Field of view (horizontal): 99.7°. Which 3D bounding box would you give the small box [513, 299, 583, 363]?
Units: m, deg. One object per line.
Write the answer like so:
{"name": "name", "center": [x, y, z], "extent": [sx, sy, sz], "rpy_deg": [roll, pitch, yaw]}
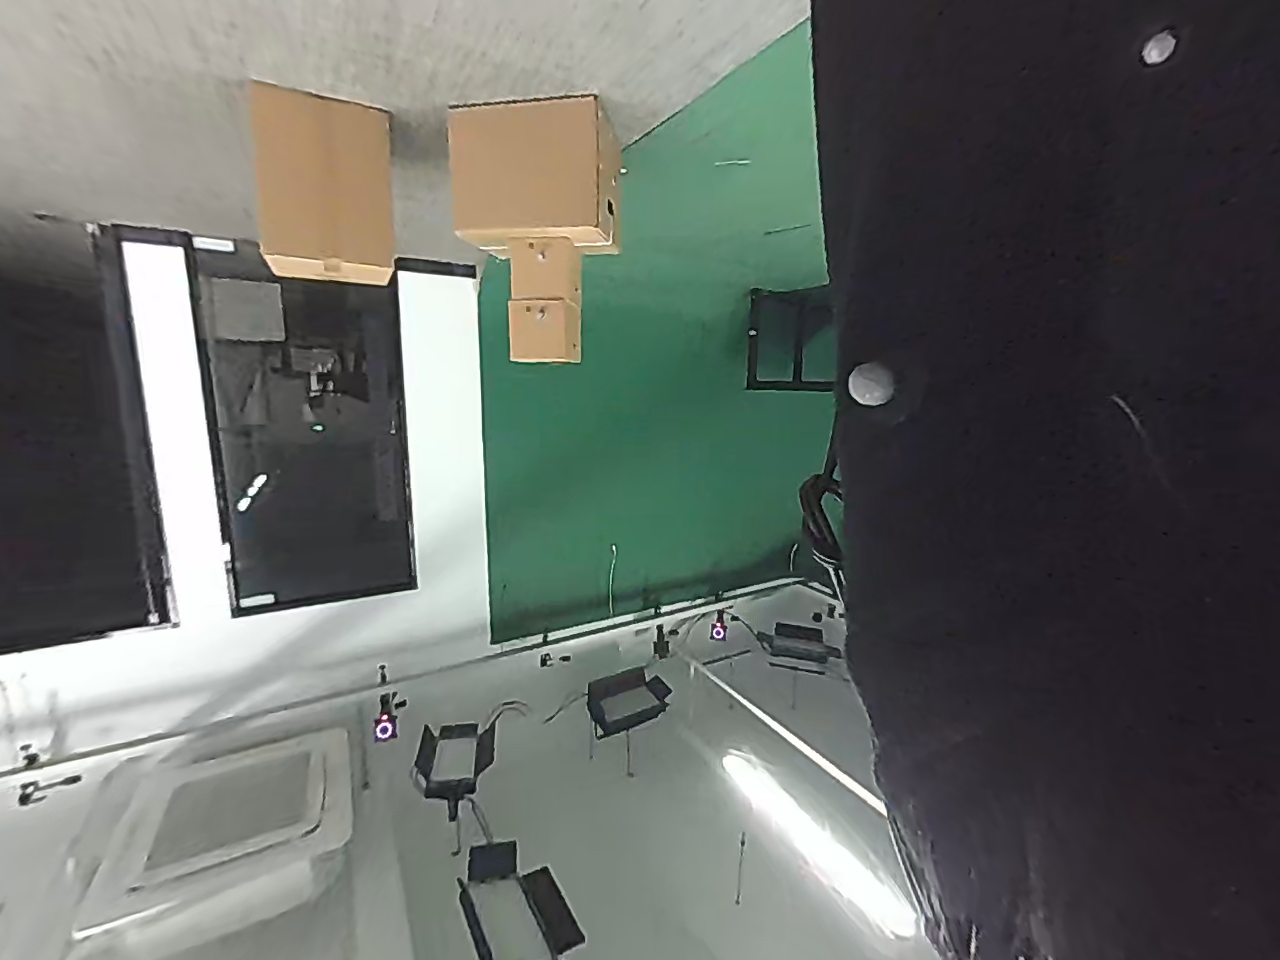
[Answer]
{"name": "small box", "center": [-0.267, -0.438, 1.598], "extent": [0.168, 0.176, 0.179], "rpy_deg": [2, -170, 9]}

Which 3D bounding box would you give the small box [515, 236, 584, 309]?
{"name": "small box", "center": [-0.259, -0.599, 1.575], "extent": [0.168, 0.176, 0.179], "rpy_deg": [2, -171, 6]}
